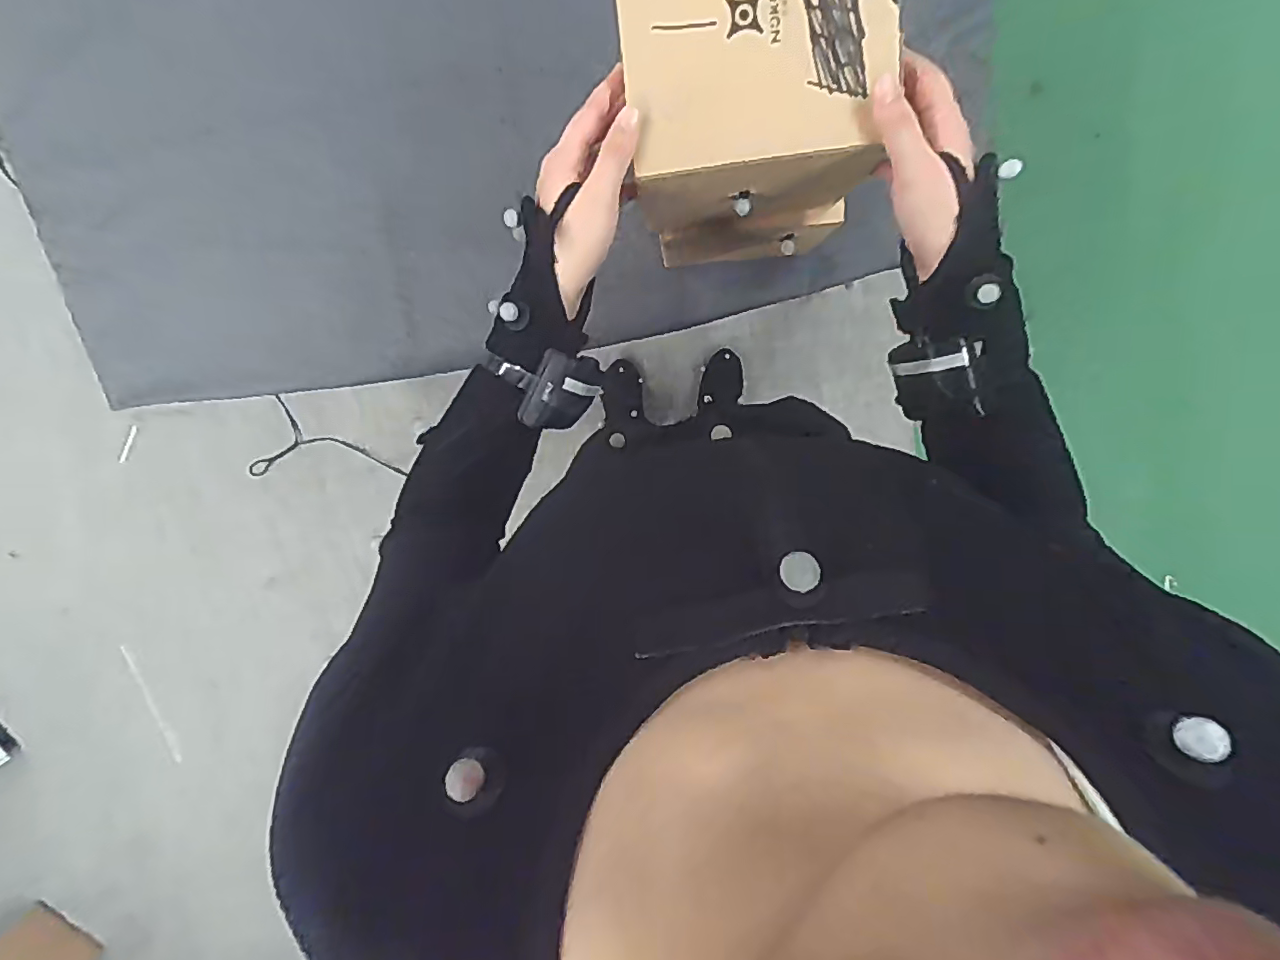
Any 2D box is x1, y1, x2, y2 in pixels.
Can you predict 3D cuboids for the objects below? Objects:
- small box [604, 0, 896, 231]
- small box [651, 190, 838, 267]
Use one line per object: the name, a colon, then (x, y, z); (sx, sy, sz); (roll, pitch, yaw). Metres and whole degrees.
small box: (0.071, -0.300, 0.407); (0.179, 0.176, 0.168); (-5, 103, 6)
small box: (0.097, -0.328, 0.568); (0.179, 0.176, 0.168); (-3, 103, 5)
